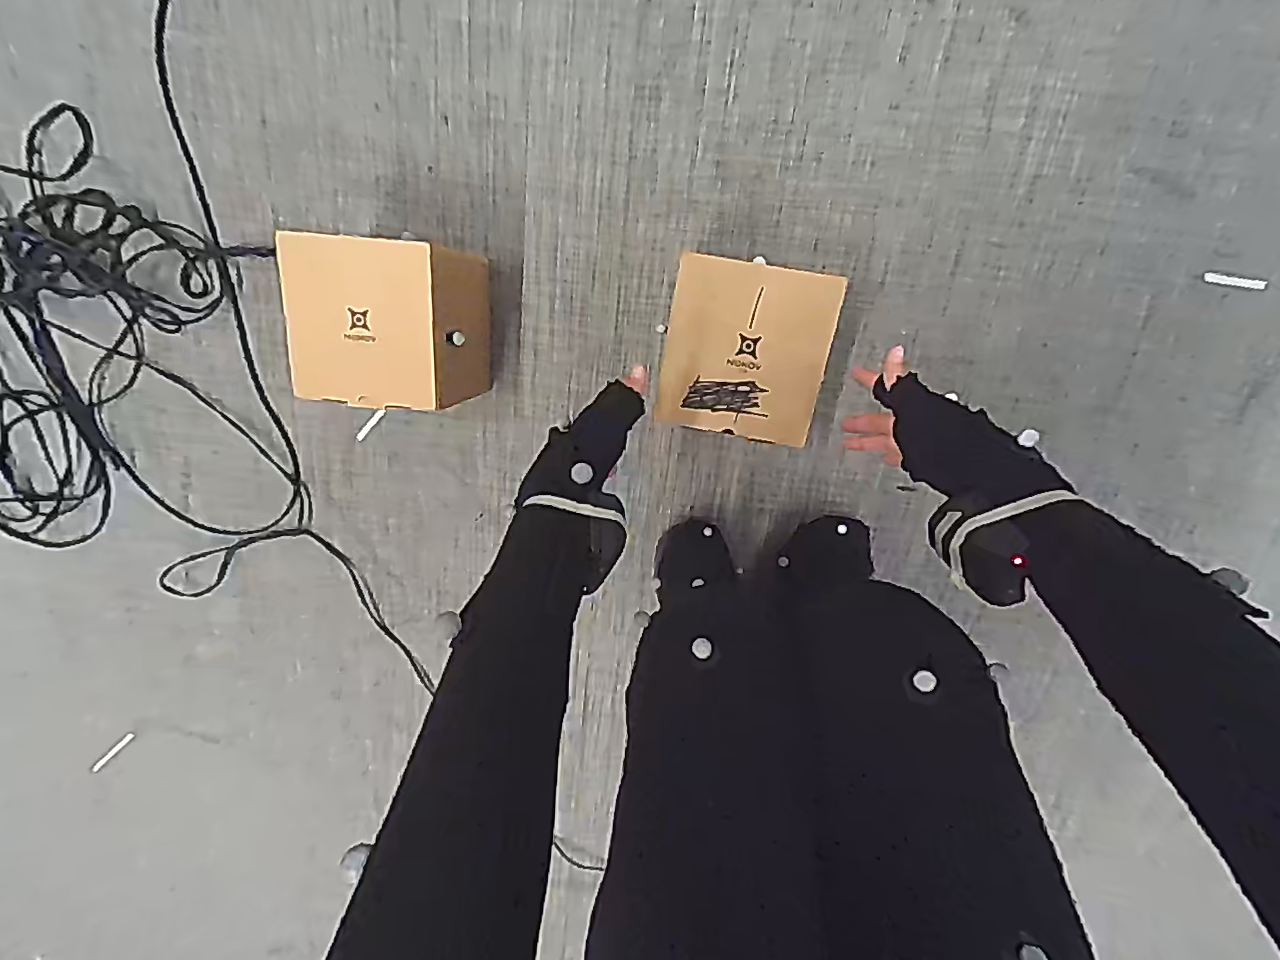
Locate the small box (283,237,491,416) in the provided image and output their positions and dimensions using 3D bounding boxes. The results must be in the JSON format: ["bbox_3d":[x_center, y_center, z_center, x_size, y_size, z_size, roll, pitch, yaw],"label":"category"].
[{"bbox_3d":[-0.288,-0.185,0.656,0.168,0.176,0.179,6,108,4],"label":"small box"}]

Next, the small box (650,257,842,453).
[{"bbox_3d":[0.112,-0.148,0.629,0.168,0.176,0.179,10,108,2],"label":"small box"}]
